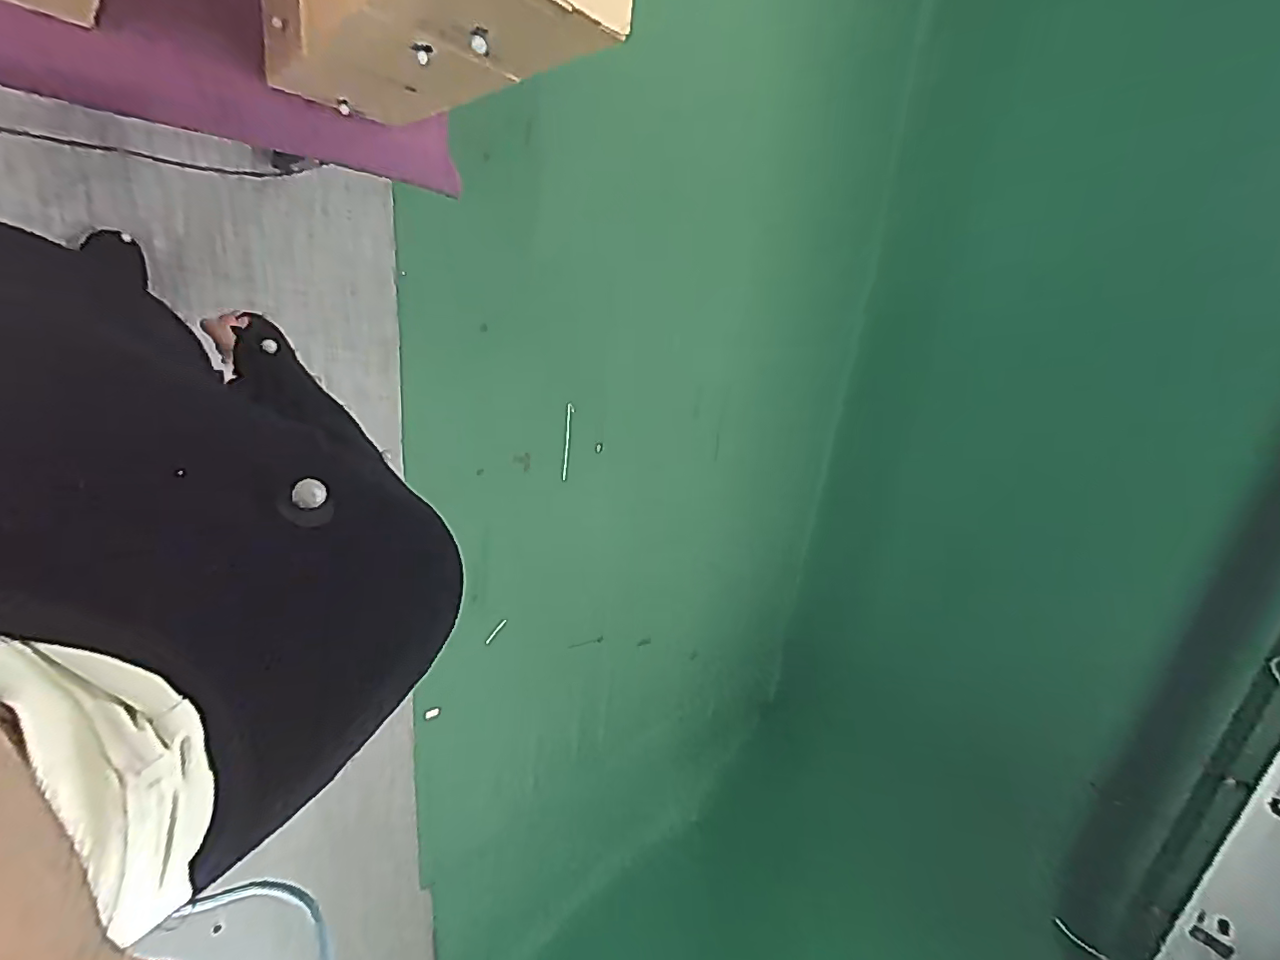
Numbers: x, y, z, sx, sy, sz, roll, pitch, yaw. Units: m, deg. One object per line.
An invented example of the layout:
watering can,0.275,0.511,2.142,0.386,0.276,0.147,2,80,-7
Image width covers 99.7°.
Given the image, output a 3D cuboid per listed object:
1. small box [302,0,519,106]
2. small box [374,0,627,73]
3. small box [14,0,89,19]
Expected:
small box,-0.235,-0.524,0.556,0.168,0.176,0.179,-9,112,-44
small box,-0.119,-0.481,0.447,0.168,0.176,0.179,-10,114,-44
small box,-0.576,-0.527,0.440,0.168,0.176,0.179,-11,113,-45
